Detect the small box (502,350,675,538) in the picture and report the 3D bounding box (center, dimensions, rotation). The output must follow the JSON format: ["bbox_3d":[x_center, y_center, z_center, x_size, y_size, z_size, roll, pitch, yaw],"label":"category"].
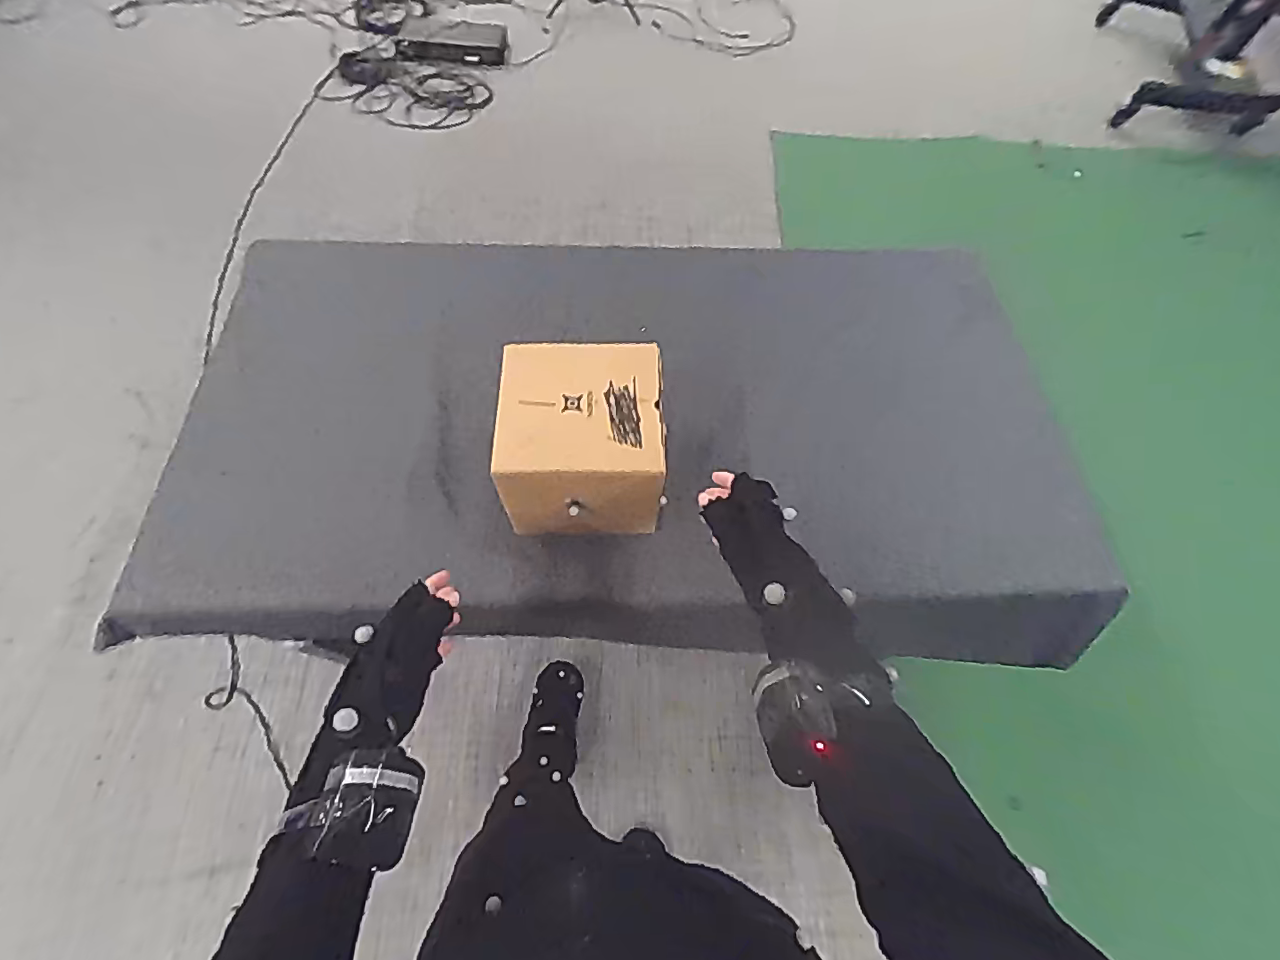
[{"bbox_3d":[-0.061,-0.037,0.647,0.179,0.176,0.168,-3,64,-5],"label":"small box"}]
